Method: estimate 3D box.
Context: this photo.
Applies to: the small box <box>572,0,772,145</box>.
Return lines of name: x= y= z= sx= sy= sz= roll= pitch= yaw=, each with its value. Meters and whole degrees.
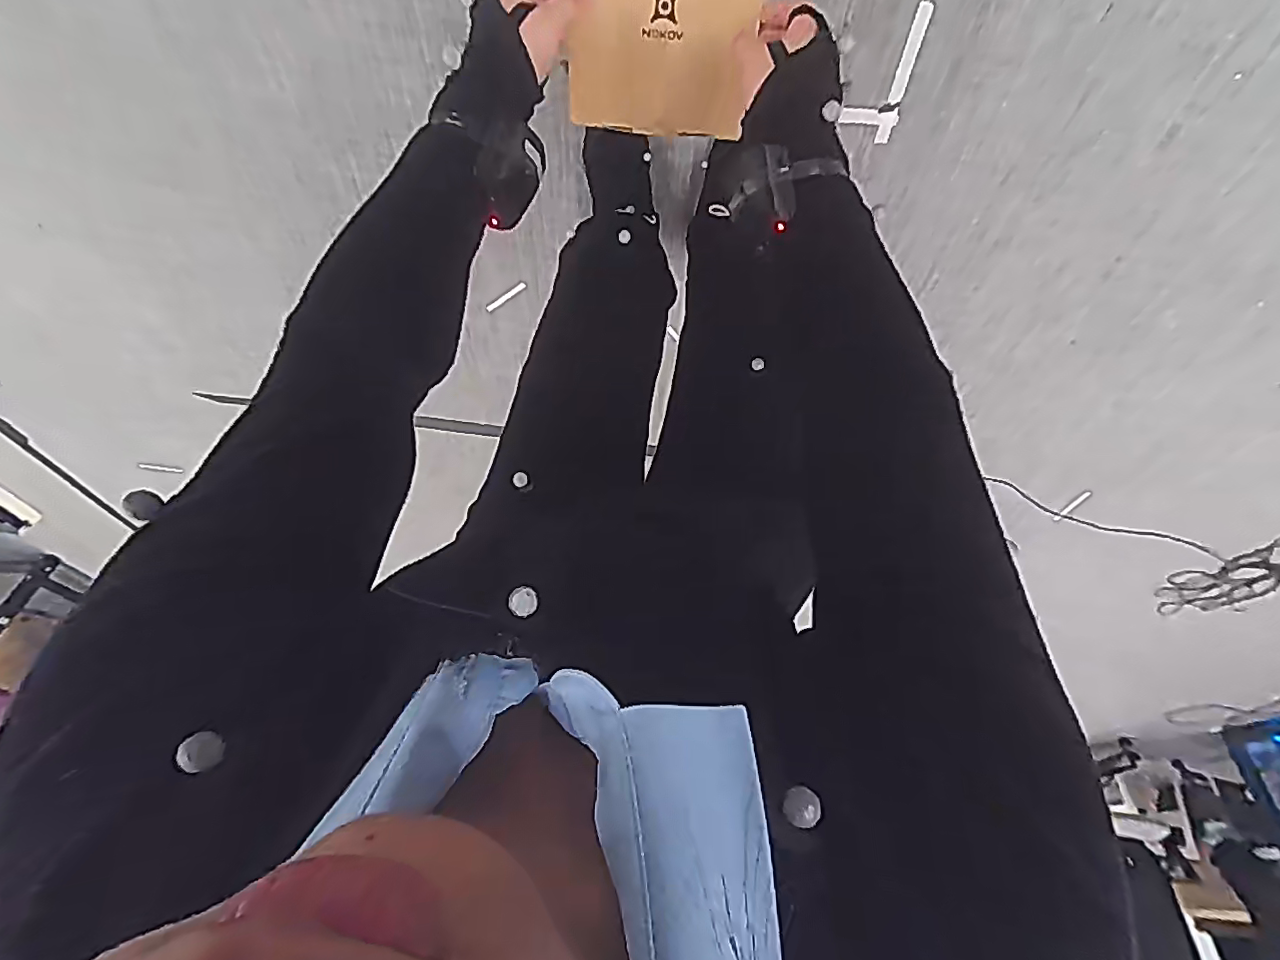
small box: x=0.029 y=-0.440 z=0.506 sx=0.168 sy=0.176 sz=0.179 roll=5 pitch=135 yaw=0
